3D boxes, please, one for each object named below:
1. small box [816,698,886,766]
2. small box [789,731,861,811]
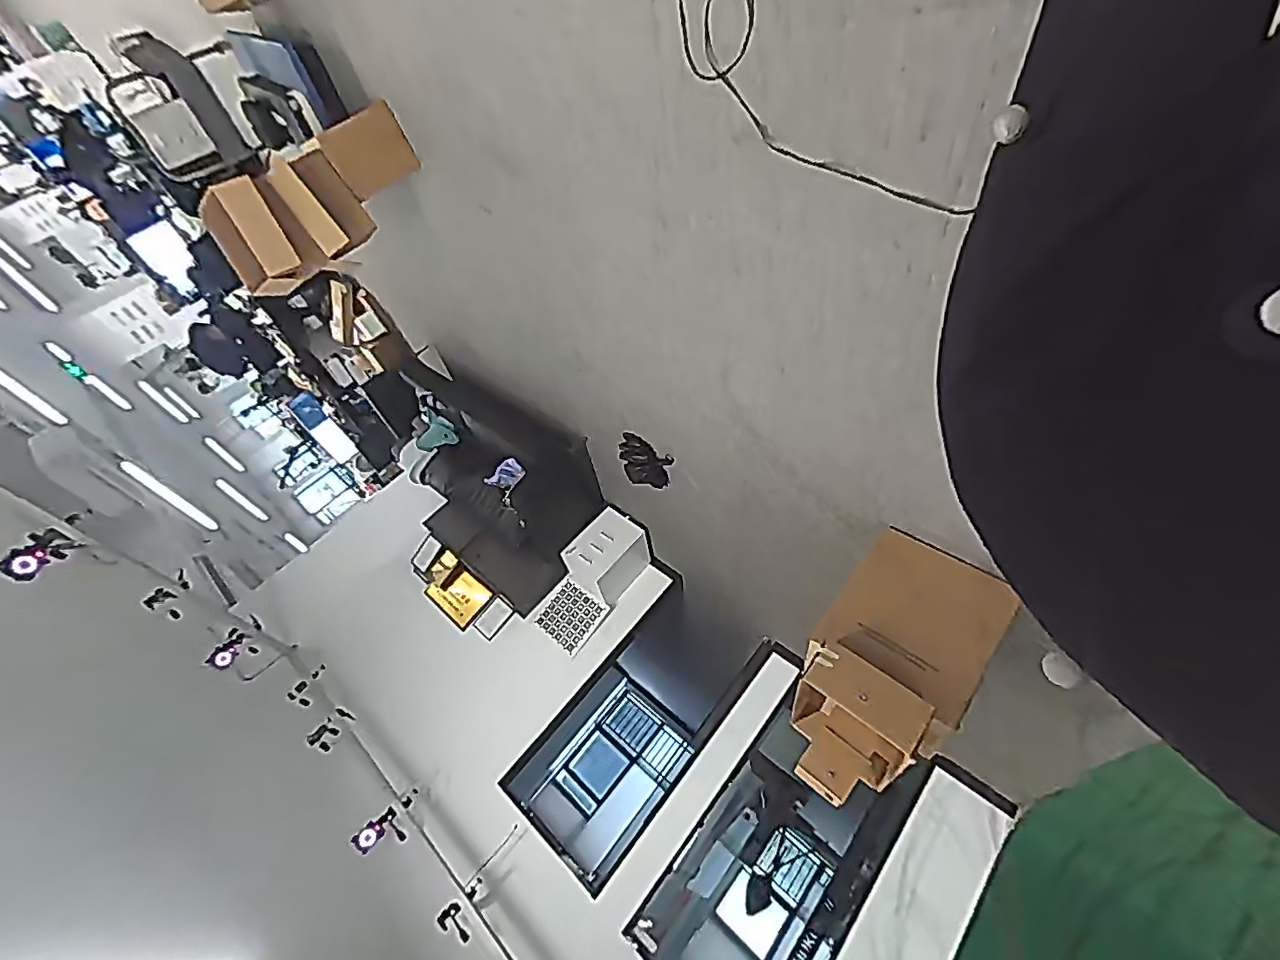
[{"bbox_3d":[0.762,0.921,1.968,0.179,0.176,0.168,33,156,32],"label":"small box"},{"bbox_3d":[0.651,1.024,1.906,0.179,0.176,0.168,34,156,29],"label":"small box"}]
